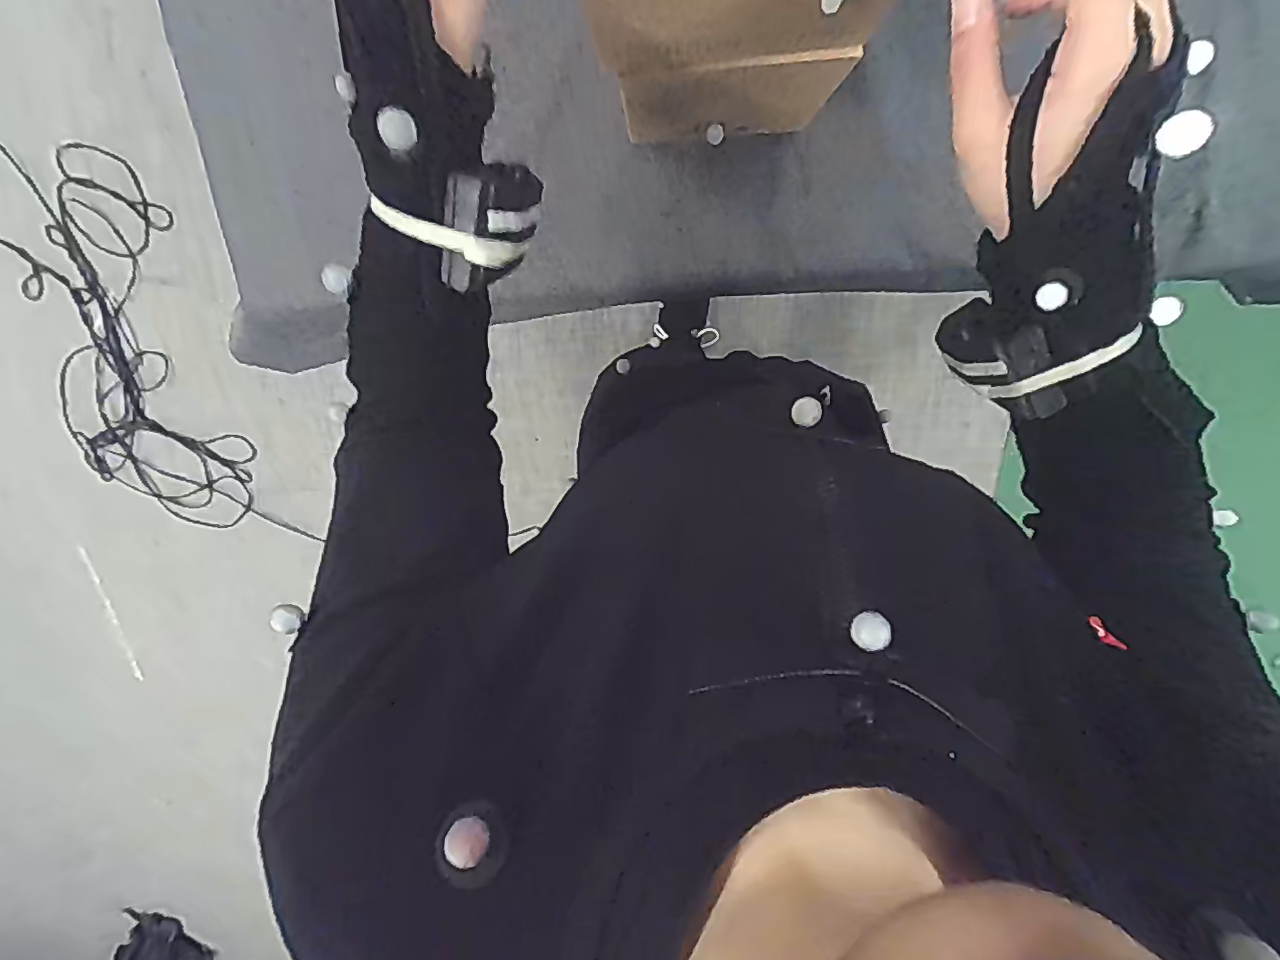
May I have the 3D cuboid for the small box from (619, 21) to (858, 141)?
[{"bbox_3d":[0.063,-0.388,0.417,0.168,0.176,0.179,-2,109,4],"label":"small box"}]

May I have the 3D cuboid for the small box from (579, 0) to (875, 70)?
[{"bbox_3d":[0.048,-0.335,0.264,0.179,0.176,0.168,-3,107,5],"label":"small box"}]
